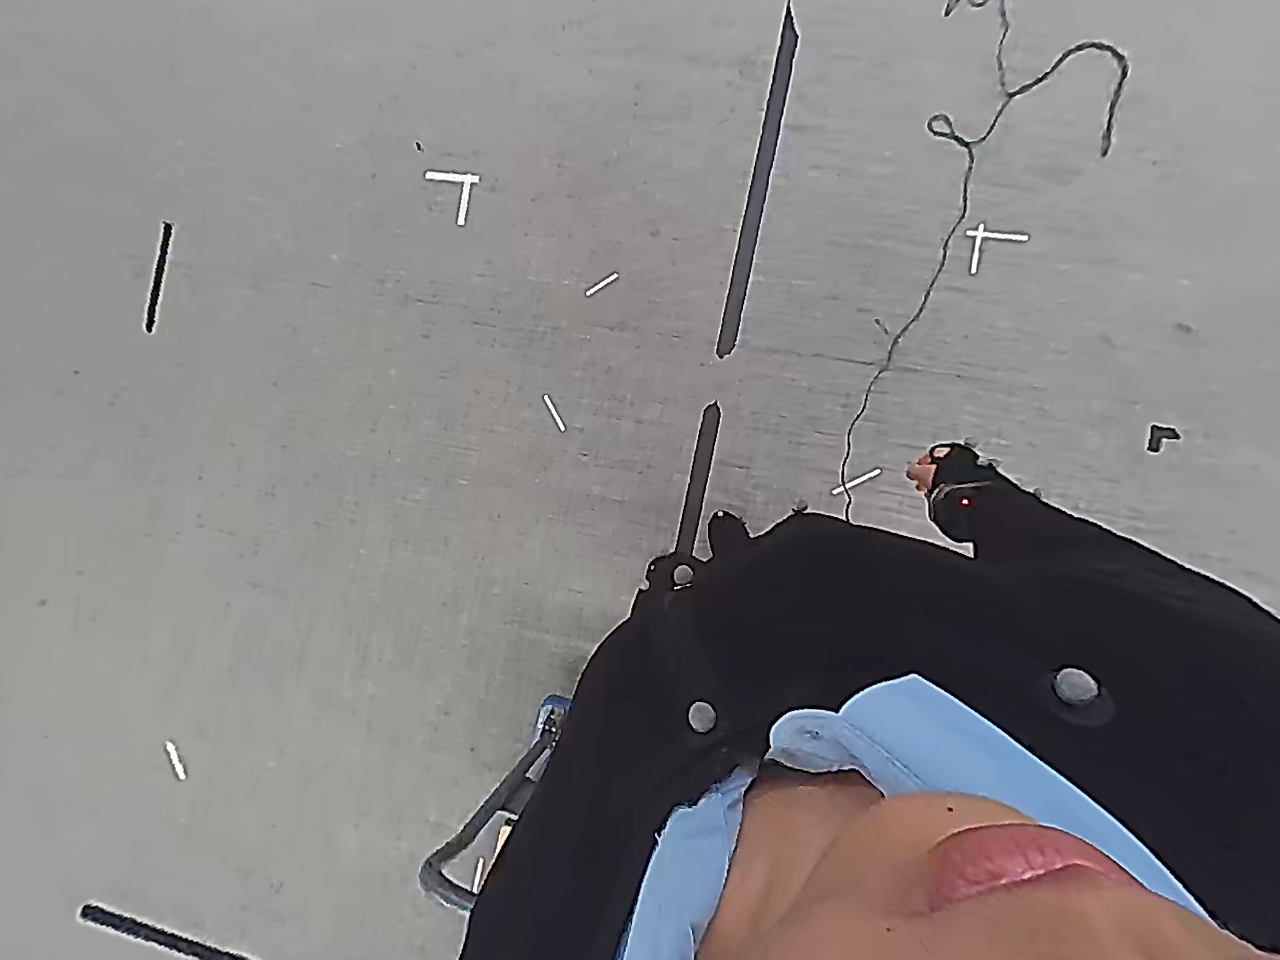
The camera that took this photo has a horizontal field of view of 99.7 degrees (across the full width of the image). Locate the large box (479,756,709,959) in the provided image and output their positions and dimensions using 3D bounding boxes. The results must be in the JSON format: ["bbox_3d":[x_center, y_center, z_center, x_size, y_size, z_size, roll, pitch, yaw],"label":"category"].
[{"bbox_3d":[-0.074,0.858,1.167,0.408,0.320,0.320,11,87,9],"label":"large box"}]
